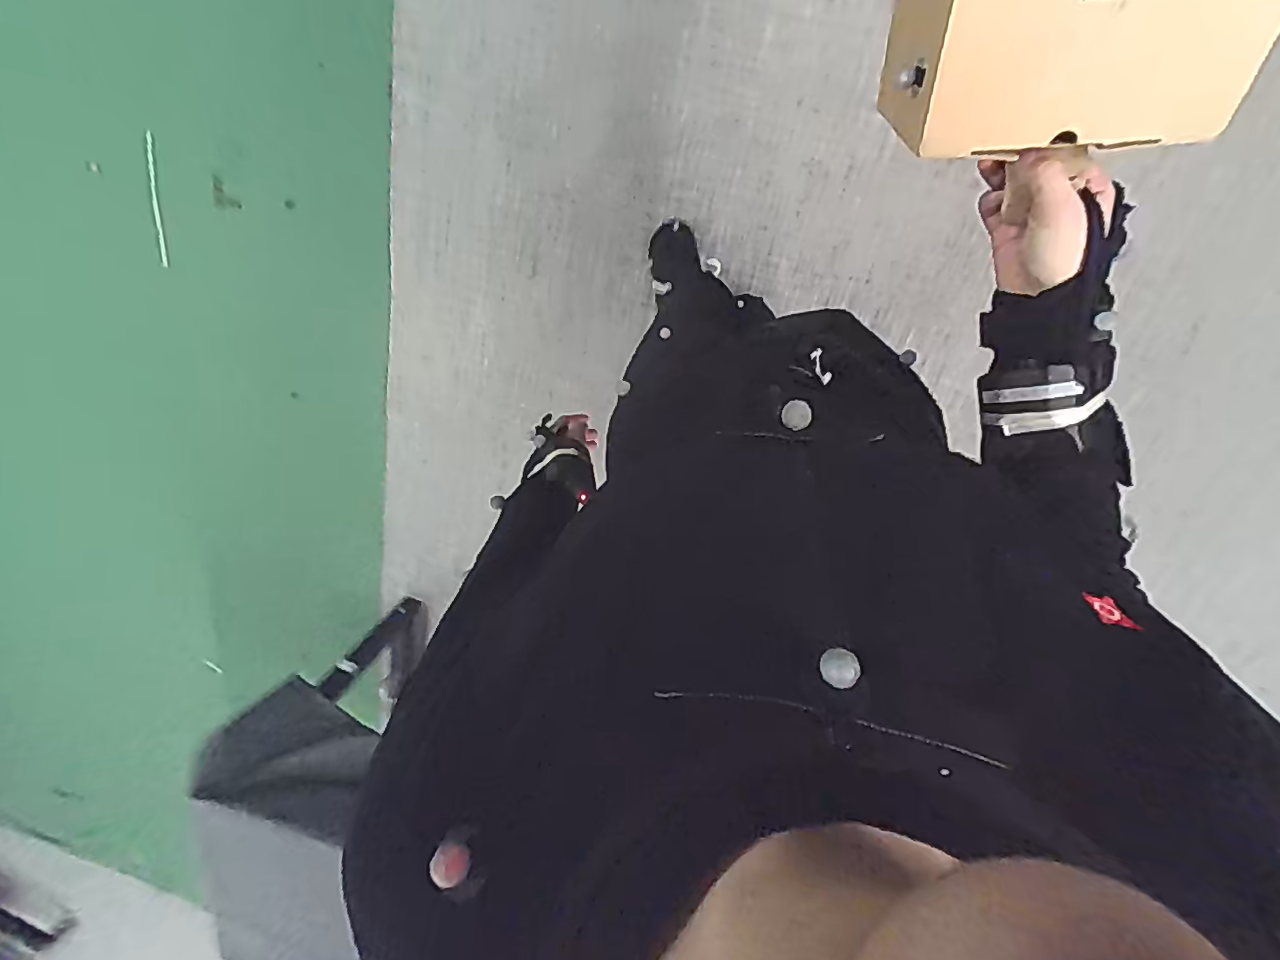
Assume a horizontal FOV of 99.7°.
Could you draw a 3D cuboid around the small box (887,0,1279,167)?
[{"bbox_3d":[0.263,-0.313,0.327,0.168,0.176,0.179,2,134,10],"label":"small box"}]
